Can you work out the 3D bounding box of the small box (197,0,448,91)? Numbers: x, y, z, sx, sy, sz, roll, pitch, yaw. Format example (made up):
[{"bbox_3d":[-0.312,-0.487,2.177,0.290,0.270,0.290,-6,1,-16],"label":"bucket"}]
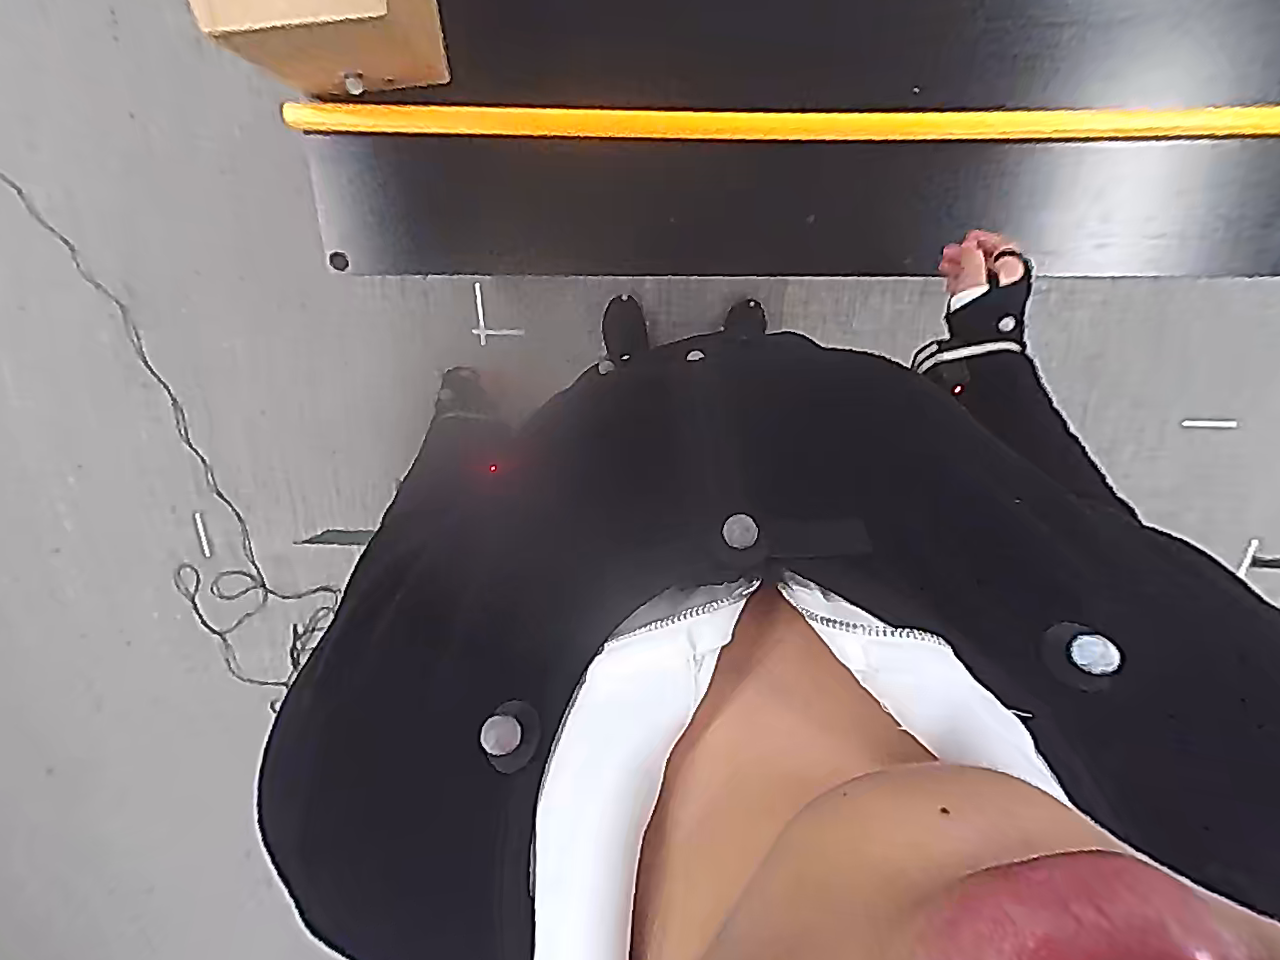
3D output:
[{"bbox_3d":[-0.299,-0.502,0.508,0.168,0.176,0.179,-5,110,1],"label":"small box"}]
